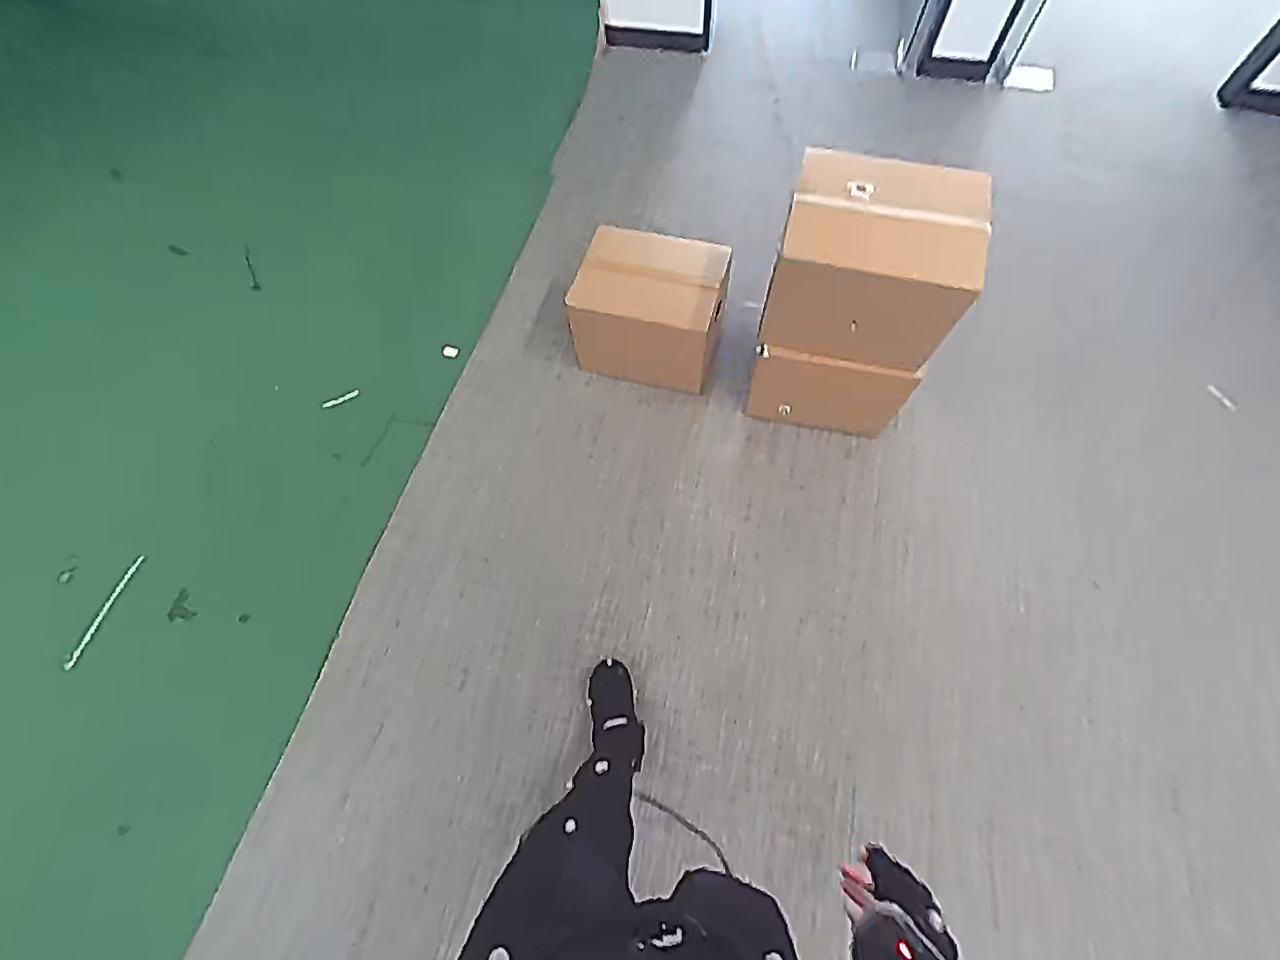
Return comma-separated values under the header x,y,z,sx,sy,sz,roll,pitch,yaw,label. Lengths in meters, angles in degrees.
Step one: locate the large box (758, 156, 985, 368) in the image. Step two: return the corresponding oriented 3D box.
x,y,z,sx,sy,sz,roll,pitch,yaw,label
0.522,-0.499,1.276,0.408,0.320,0.320,13,71,9,large box
